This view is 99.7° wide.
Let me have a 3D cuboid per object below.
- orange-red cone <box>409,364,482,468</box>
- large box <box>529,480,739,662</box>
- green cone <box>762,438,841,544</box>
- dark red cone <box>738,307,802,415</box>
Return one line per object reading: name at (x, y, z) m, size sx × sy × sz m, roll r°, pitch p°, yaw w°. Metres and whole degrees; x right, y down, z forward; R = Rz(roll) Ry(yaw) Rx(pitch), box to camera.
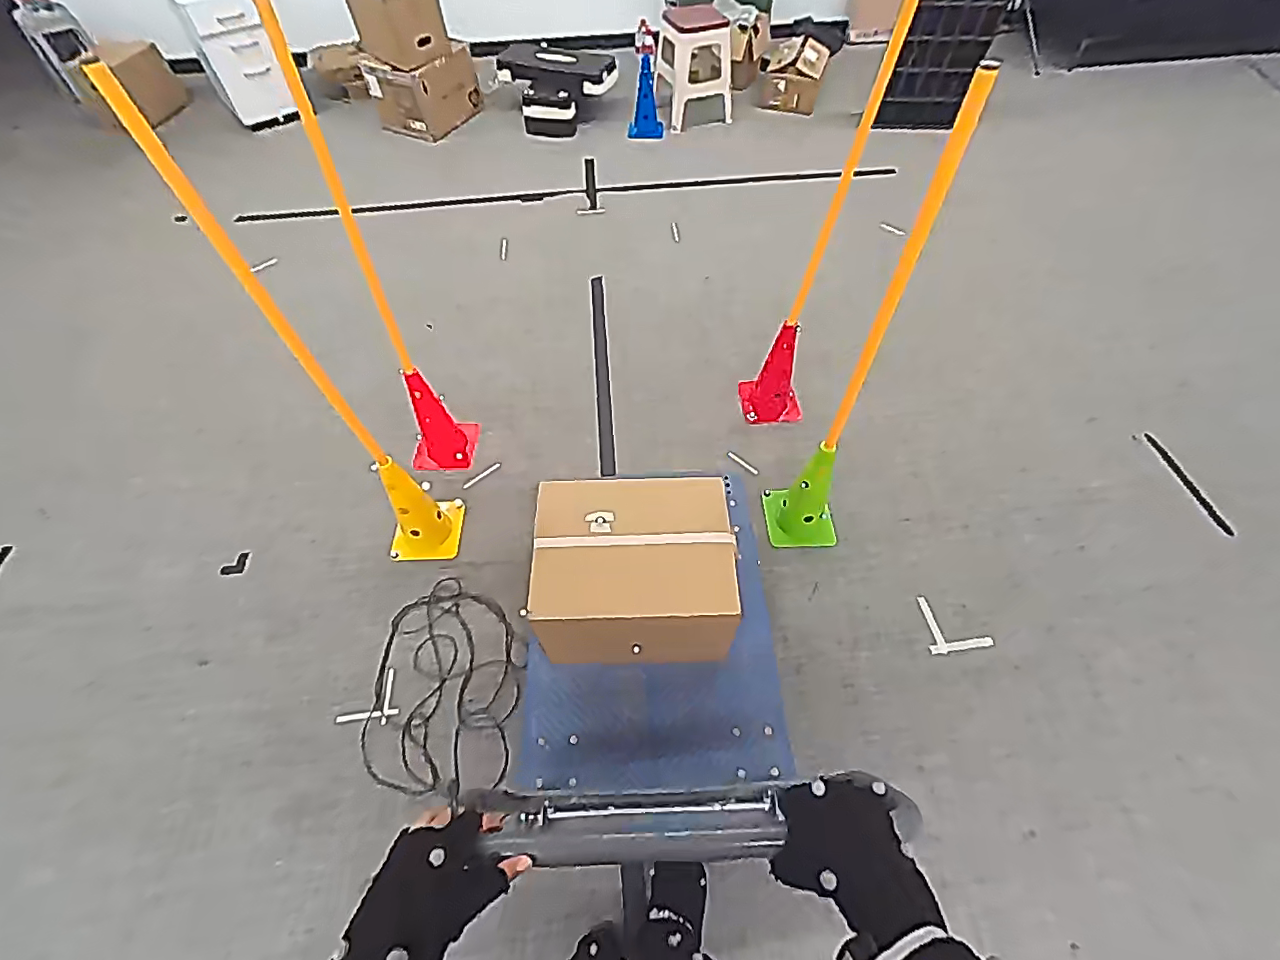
orange-red cone at (-0.653, -0.225, 1.707) m, size 0.198 × 0.360 × 0.199 m, roll 2°, pitch 54°, yaw 1°
large box at (-0.010, 0.215, 1.224) m, size 0.408 × 0.320 × 0.320 m, roll -1°, pitch 56°, yaw 1°
green cone at (0.488, 0.013, 1.527) m, size 0.202 × 0.368 × 0.200 m, roll -1°, pitch 56°, yaw -1°
dark red cone at (0.465, -0.398, 1.785) m, size 0.201 × 0.394 × 0.202 m, roll -3°, pitch 56°, yaw -4°
